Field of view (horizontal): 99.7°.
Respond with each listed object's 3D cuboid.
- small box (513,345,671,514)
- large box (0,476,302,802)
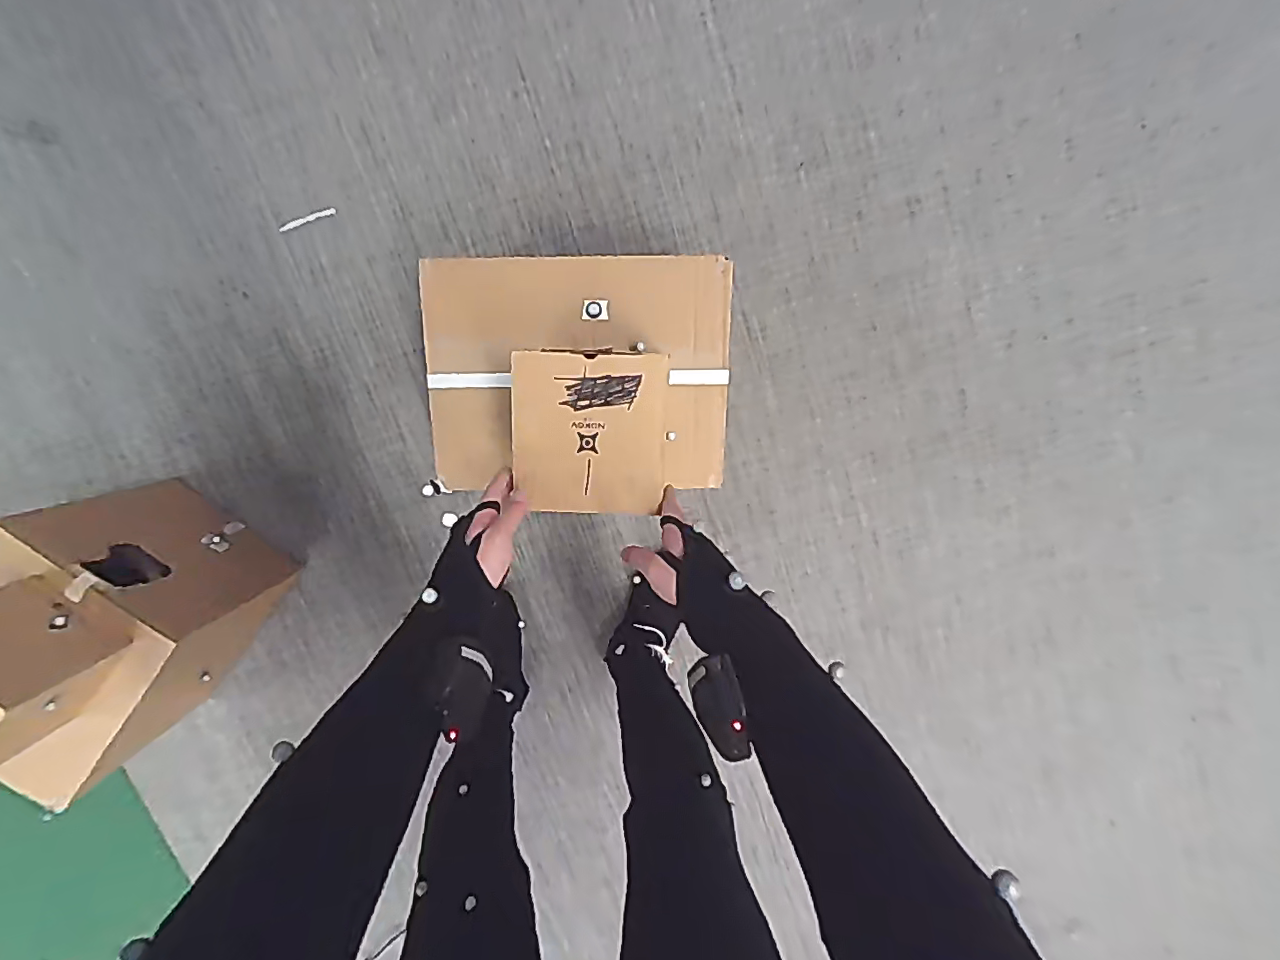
[{"bbox_3d":[-0.053,-0.069,0.651,0.168,0.176,0.179,2,104,1],"label":"small box"},{"bbox_3d":[-0.928,0.260,0.987,0.320,0.320,0.408,39,101,-6],"label":"large box"}]
